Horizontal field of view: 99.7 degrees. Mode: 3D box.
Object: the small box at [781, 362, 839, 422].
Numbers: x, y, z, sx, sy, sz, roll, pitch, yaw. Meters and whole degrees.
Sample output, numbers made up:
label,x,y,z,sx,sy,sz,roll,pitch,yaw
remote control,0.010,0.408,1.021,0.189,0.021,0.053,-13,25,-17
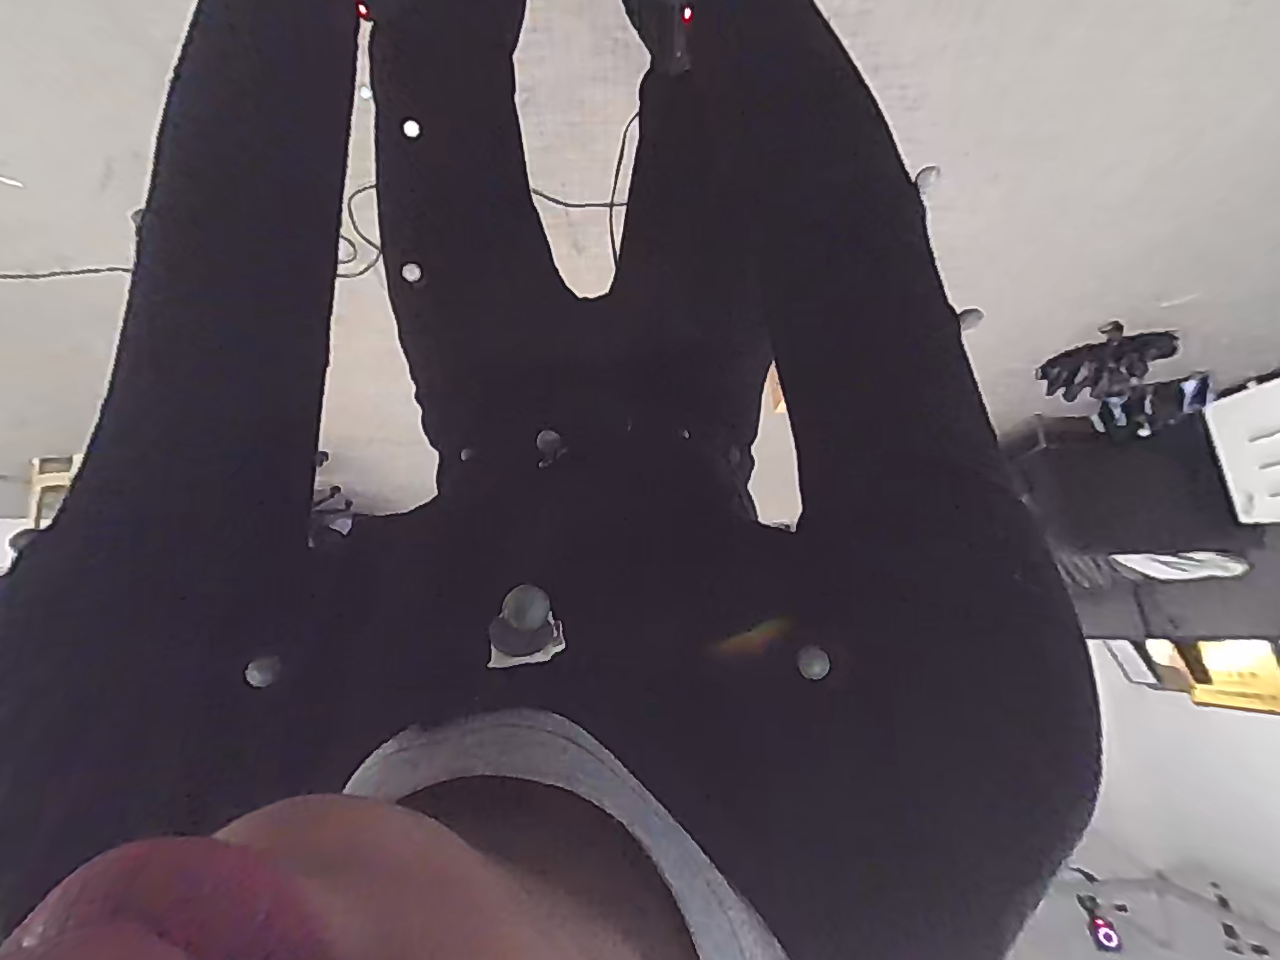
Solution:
label,x,y,z,sx,sy,sz,roll,pitch,yaw
small box,0.634,-0.329,2.038,0.168,0.176,0.179,-1,163,0
